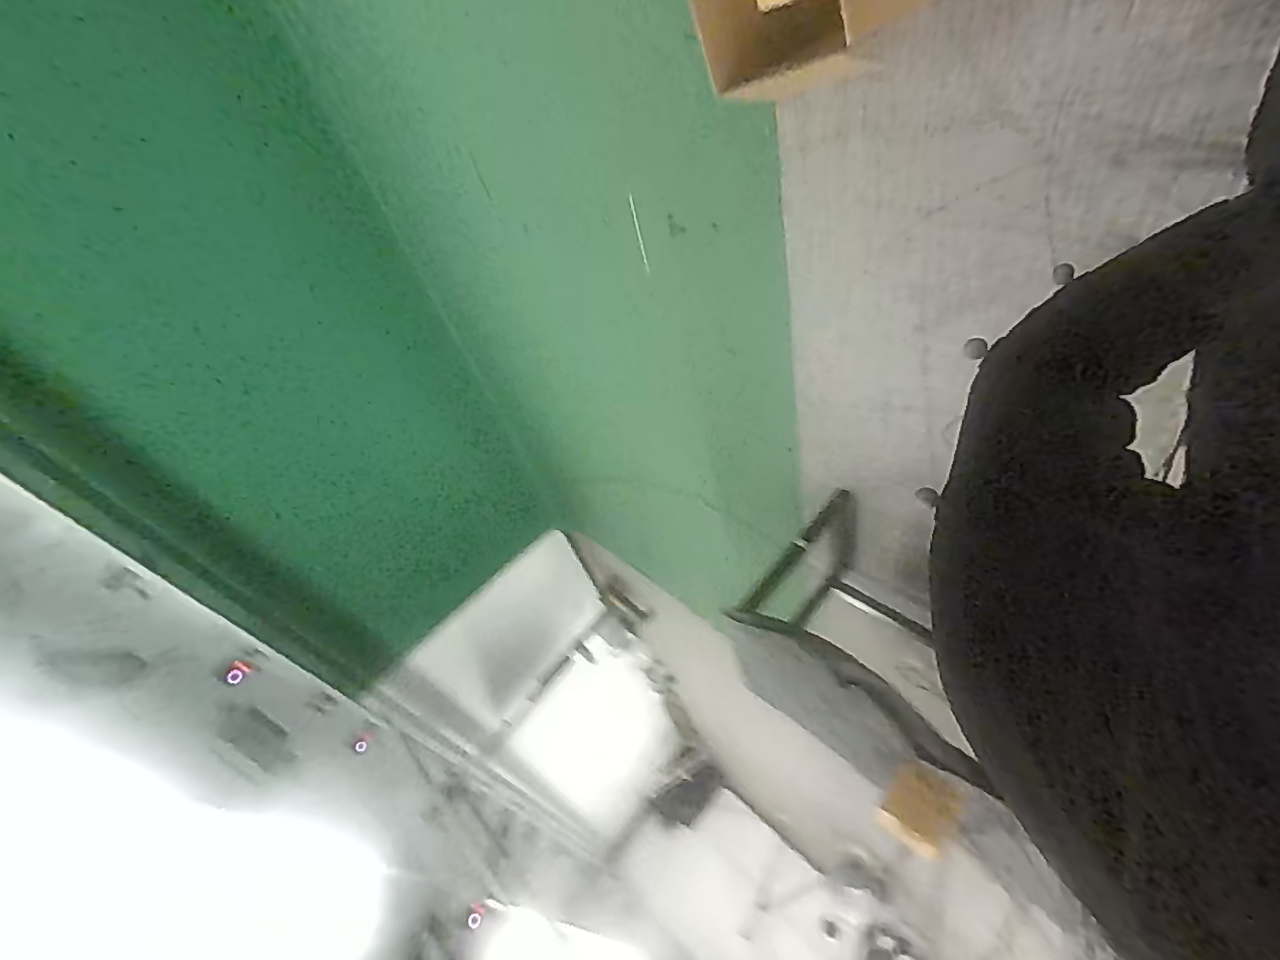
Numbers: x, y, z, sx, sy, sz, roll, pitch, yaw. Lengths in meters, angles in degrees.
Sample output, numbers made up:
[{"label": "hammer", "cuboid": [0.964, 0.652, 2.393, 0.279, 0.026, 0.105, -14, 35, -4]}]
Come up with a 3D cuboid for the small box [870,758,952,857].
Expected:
[{"label": "small box", "cuboid": [0.806, 0.968, 1.610, 0.168, 0.176, 0.179, 27, 151, 42]}]
